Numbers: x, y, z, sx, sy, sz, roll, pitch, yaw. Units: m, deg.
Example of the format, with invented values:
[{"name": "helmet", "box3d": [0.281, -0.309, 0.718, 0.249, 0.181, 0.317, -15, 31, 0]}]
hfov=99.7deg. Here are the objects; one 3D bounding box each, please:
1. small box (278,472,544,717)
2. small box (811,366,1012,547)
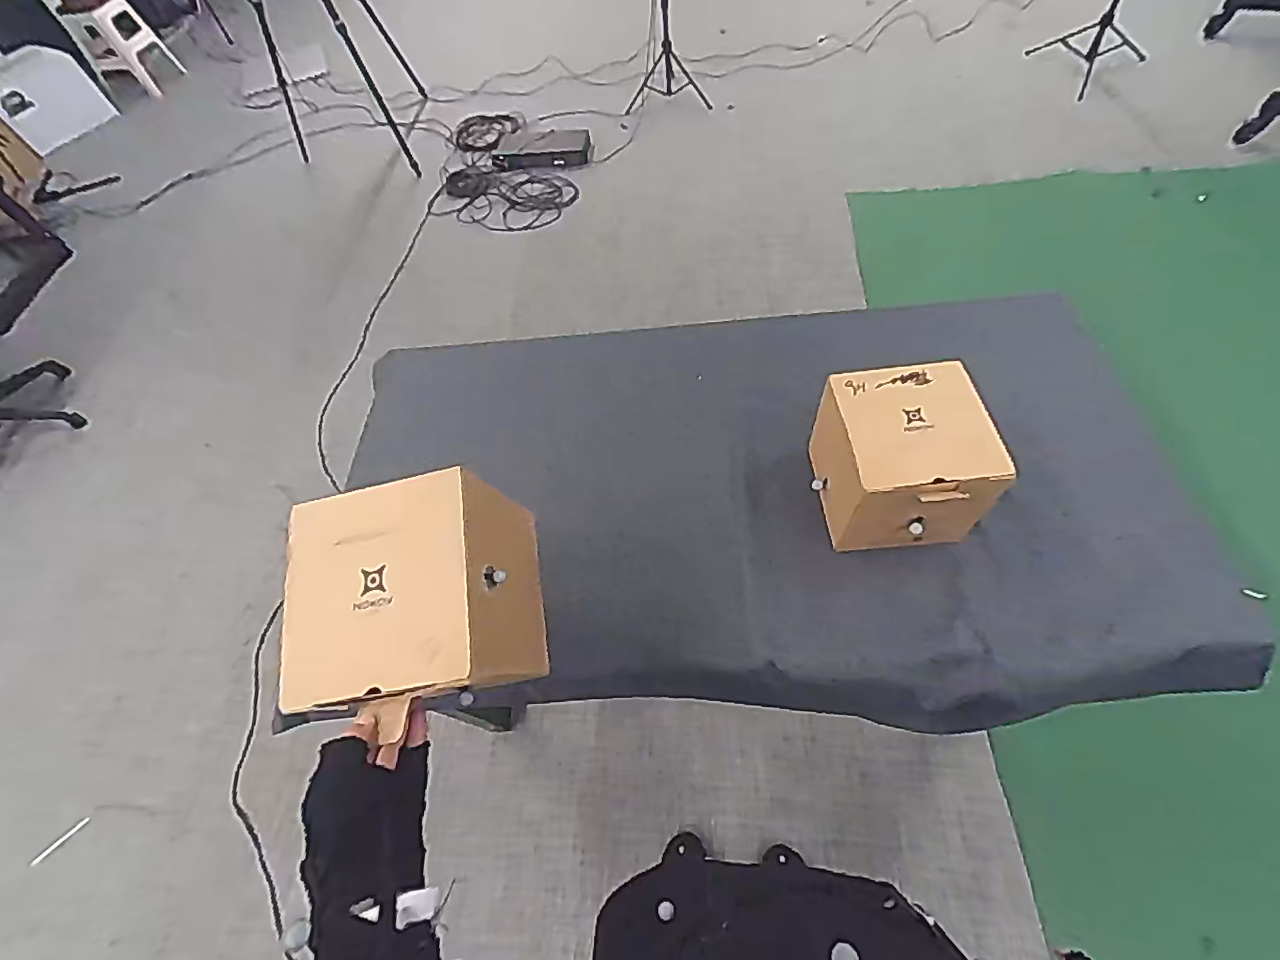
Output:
[{"name": "small box", "box3d": [-0.199, 0.113, 0.511, 0.168, 0.176, 0.179, -12, 69, 7]}, {"name": "small box", "box3d": [0.332, -0.020, 0.704, 0.168, 0.176, 0.179, -5, 59, 3]}]
